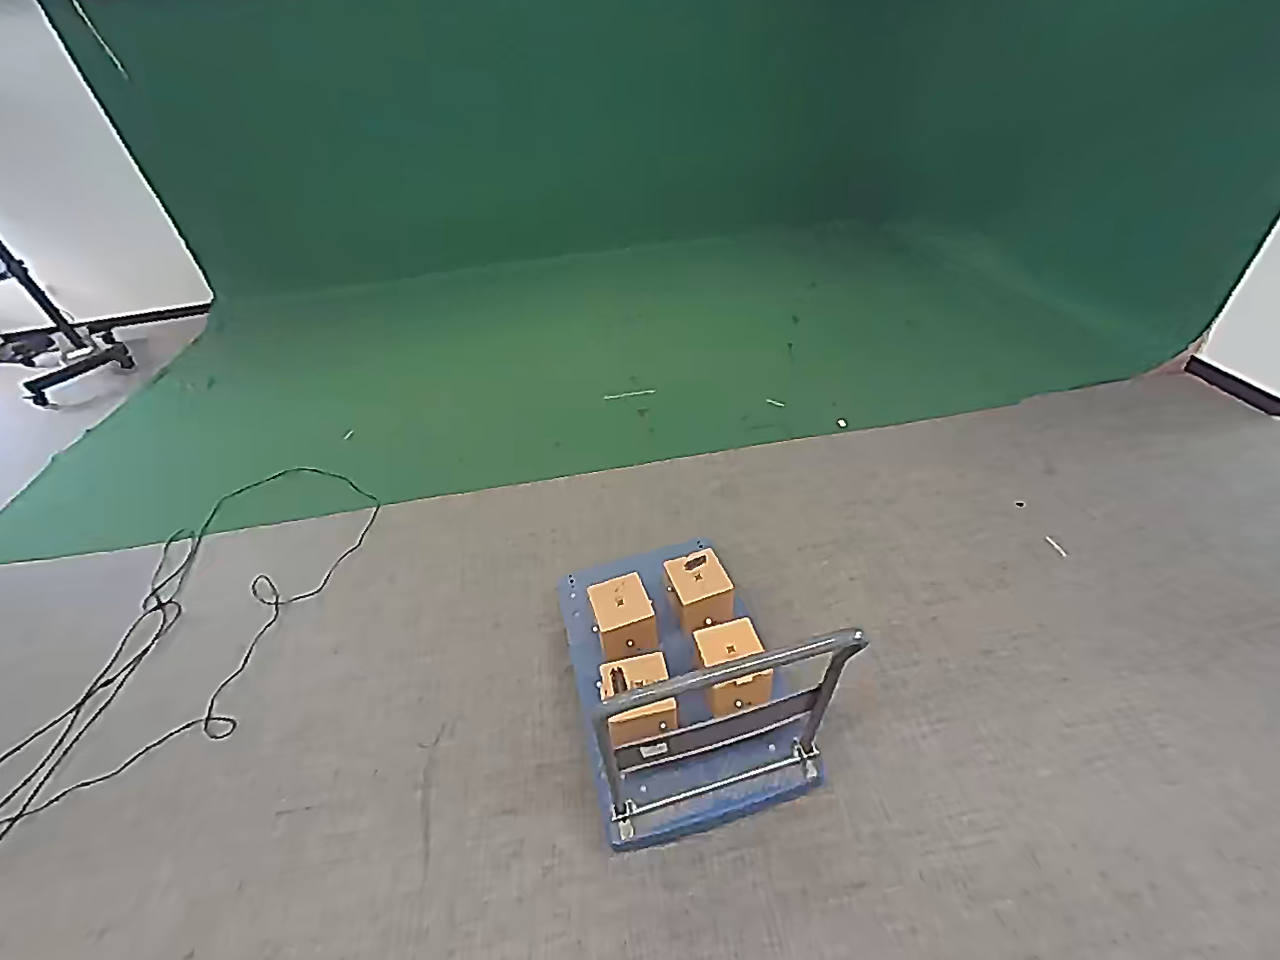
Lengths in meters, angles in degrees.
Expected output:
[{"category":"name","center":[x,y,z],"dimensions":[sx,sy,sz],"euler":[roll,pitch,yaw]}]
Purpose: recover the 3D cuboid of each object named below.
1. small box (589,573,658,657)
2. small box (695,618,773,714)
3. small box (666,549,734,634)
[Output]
[{"category":"small box","center":[-0.049,0.426,1.678],"dimensions":[0.168,0.176,0.179],"euler":[-15,42,-11]},{"category":"small box","center":[0.258,0.525,1.525],"dimensions":[0.168,0.176,0.179],"euler":[-13,42,-7]},{"category":"small box","center":[0.188,0.357,1.725],"dimensions":[0.168,0.176,0.179],"euler":[-16,43,-10]}]
